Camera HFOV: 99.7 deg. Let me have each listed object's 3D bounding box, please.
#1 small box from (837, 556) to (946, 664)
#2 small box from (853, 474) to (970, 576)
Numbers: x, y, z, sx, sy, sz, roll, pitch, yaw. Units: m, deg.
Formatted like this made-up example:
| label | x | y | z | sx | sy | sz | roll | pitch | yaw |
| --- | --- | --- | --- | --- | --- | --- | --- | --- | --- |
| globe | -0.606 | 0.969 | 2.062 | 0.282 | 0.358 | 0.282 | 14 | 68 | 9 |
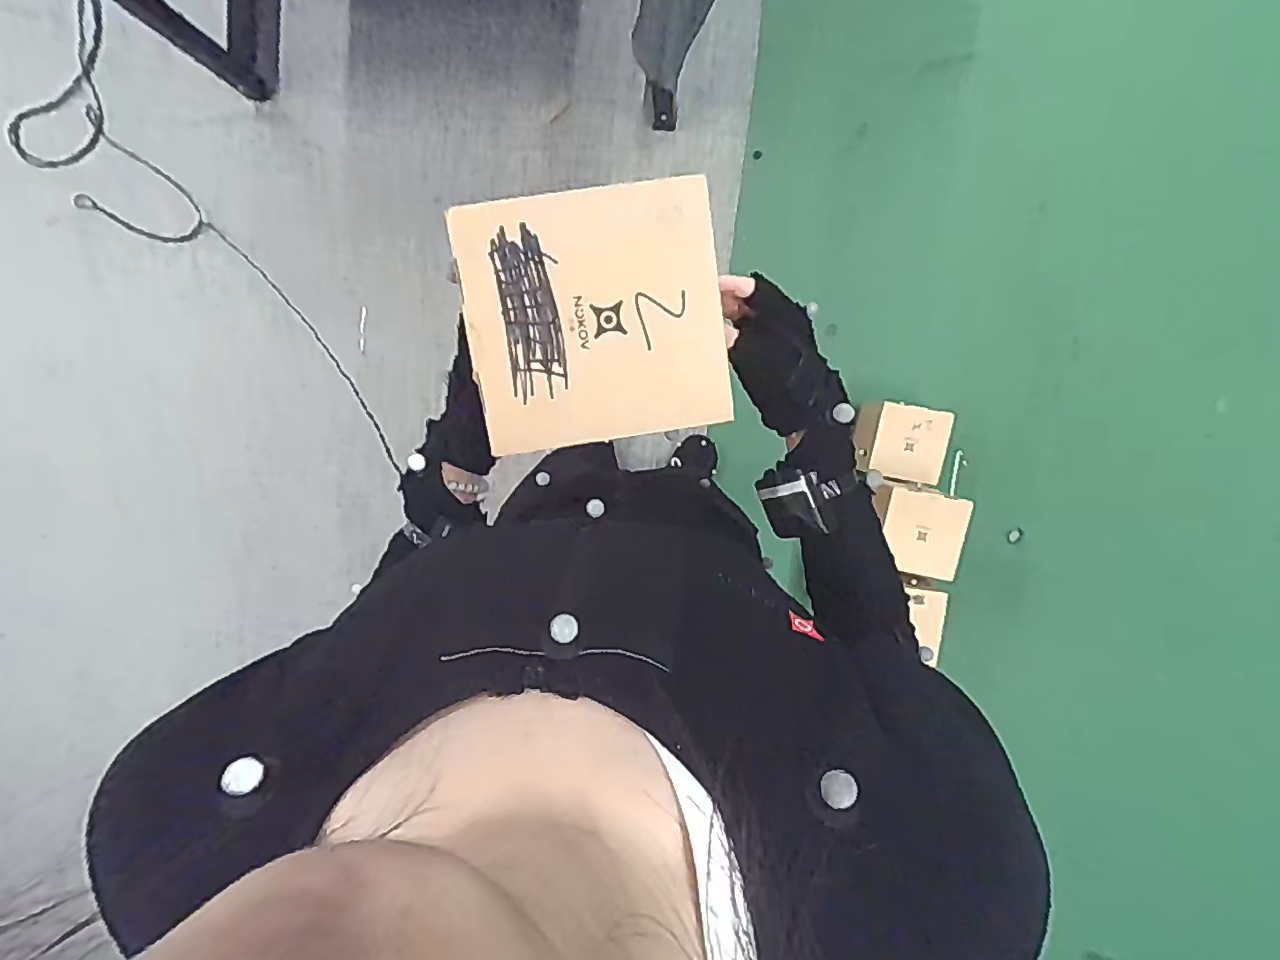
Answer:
| label | x | y | z | sx | sy | sz | roll | pitch | yaw |
| --- | --- | --- | --- | --- | --- | --- | --- | --- | --- |
| small box | 0.561 | 0.290 | 1.234 | 0.168 | 0.176 | 0.179 | 7 | 98 | 4 |
| small box | 0.594 | 0.093 | 1.210 | 0.168 | 0.176 | 0.179 | 12 | 96 | 4 |
